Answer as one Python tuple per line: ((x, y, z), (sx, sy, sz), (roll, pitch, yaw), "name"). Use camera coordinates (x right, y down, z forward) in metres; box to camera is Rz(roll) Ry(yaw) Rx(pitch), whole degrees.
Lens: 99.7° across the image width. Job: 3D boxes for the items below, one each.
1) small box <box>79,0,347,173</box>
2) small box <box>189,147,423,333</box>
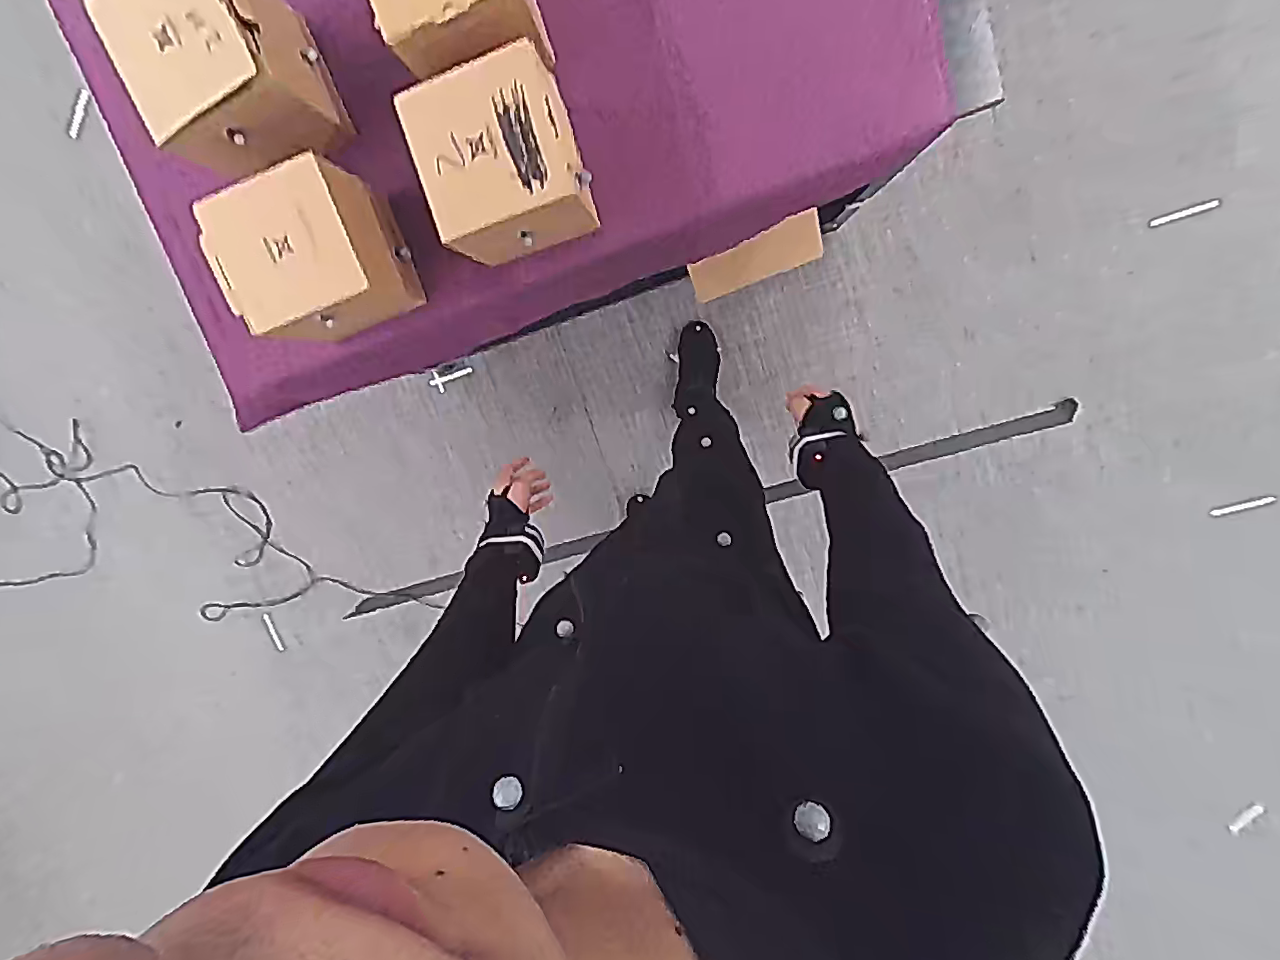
((-0.526, -0.526, 0.691), (0.179, 0.176, 0.168), (-20, 101, 8), "small box")
((-0.435, -0.306, 0.734), (0.179, 0.176, 0.168), (-18, 101, 8), "small box")
